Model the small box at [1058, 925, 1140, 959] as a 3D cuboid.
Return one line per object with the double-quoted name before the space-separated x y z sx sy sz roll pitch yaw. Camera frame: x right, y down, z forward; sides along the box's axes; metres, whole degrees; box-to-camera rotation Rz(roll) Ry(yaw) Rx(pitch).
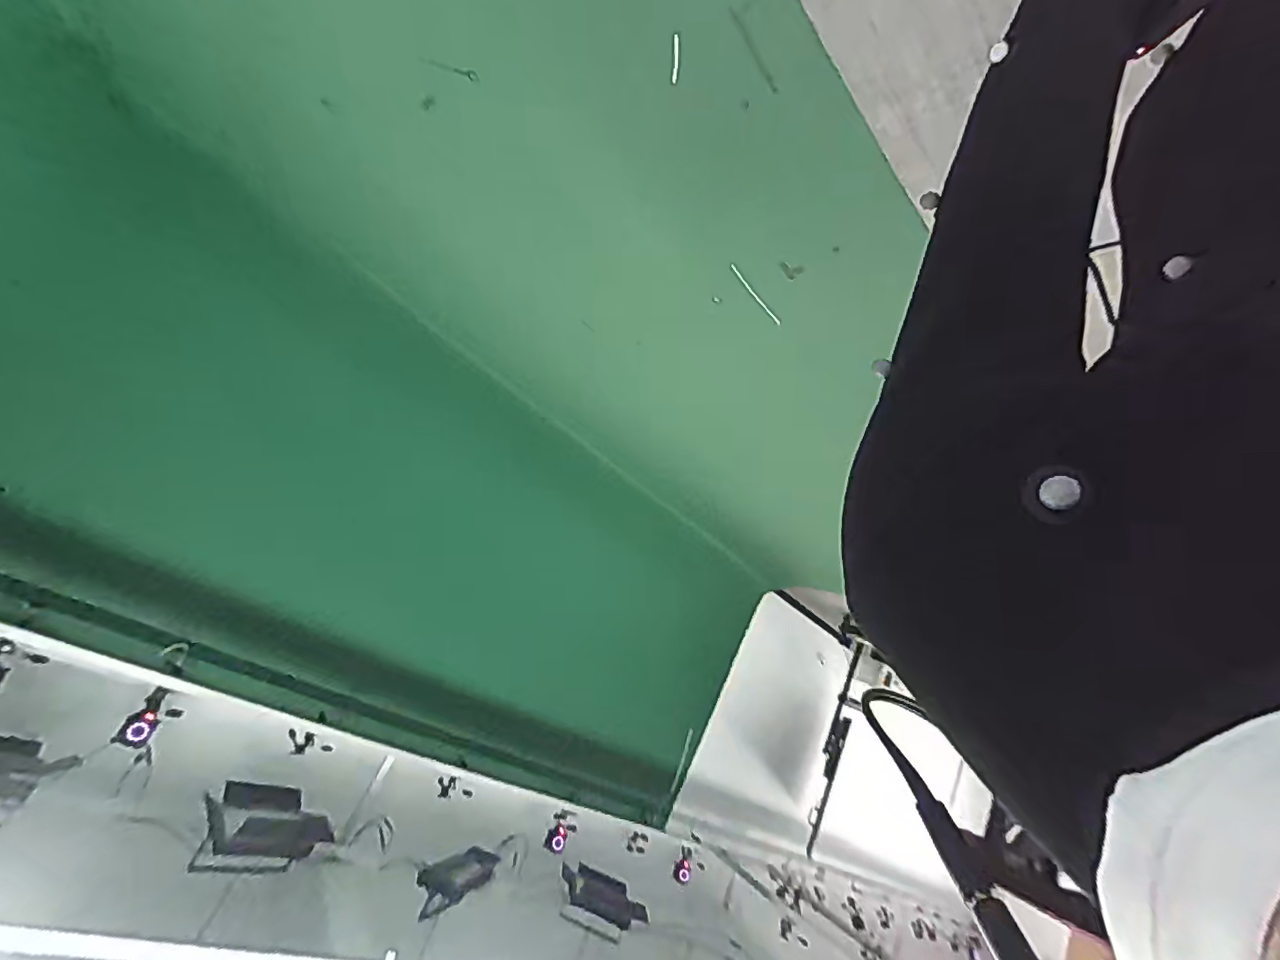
"small box" 1.275 1.362 1.481 0.168 0.176 0.179 36 162 -29
